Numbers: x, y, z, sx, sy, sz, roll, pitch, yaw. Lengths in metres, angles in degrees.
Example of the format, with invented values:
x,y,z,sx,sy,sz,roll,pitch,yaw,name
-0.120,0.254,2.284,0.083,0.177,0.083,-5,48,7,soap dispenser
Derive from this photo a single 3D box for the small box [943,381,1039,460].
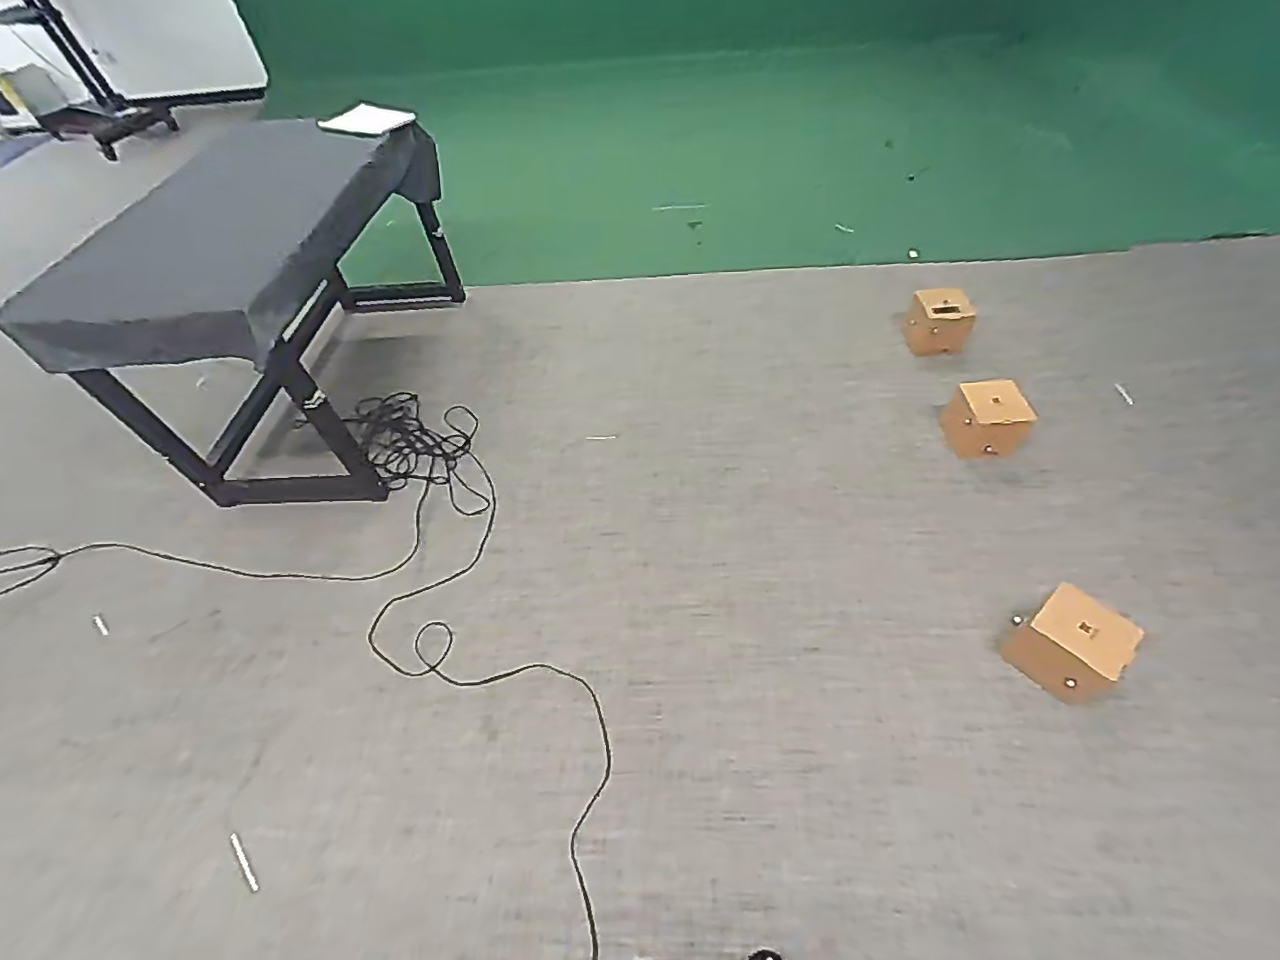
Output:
x,y,z,sx,sy,sz,roll,pitch,yaw,name
1.071,-0.183,1.670,0.168,0.176,0.179,-3,52,2,small box

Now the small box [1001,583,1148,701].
x,y,z,sx,sy,sz,roll,pitch,yaw,name
0.980,0.377,1.232,0.168,0.176,0.179,-36,56,-23,small box
